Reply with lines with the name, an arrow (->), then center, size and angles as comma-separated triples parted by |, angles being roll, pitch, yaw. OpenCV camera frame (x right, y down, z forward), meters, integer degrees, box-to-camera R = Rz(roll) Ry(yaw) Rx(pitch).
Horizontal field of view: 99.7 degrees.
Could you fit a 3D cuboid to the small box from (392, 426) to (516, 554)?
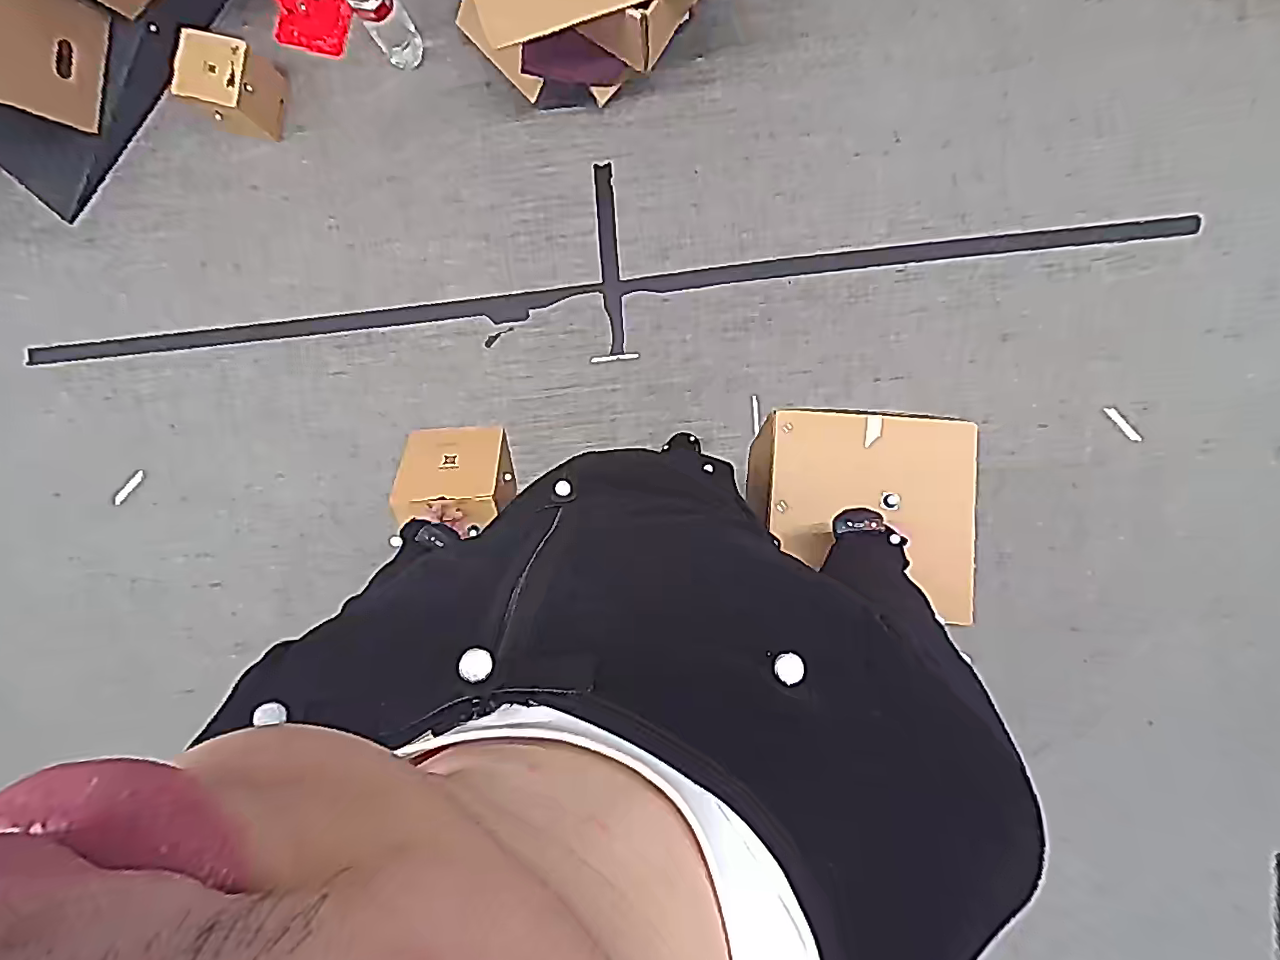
small box -> -0.323, 0.023, 0.979 | 0.168, 0.179, 0.176 | -2, 137, -4
